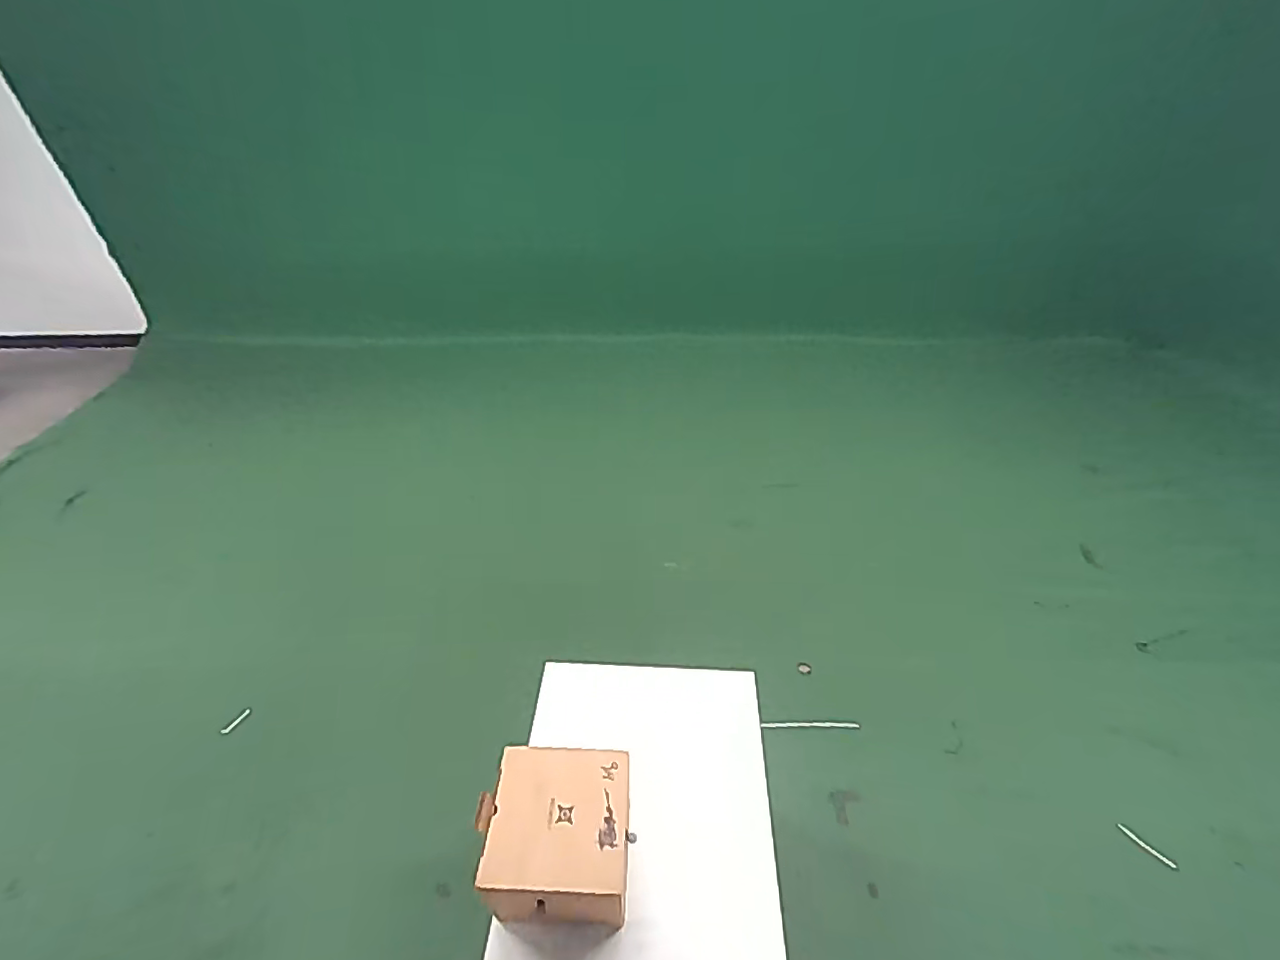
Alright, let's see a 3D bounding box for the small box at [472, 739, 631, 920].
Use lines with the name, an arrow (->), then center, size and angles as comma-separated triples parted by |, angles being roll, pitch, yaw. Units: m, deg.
small box -> -0.105, 0.474, 0.734 | 0.179, 0.176, 0.168 | 1, 41, 1
